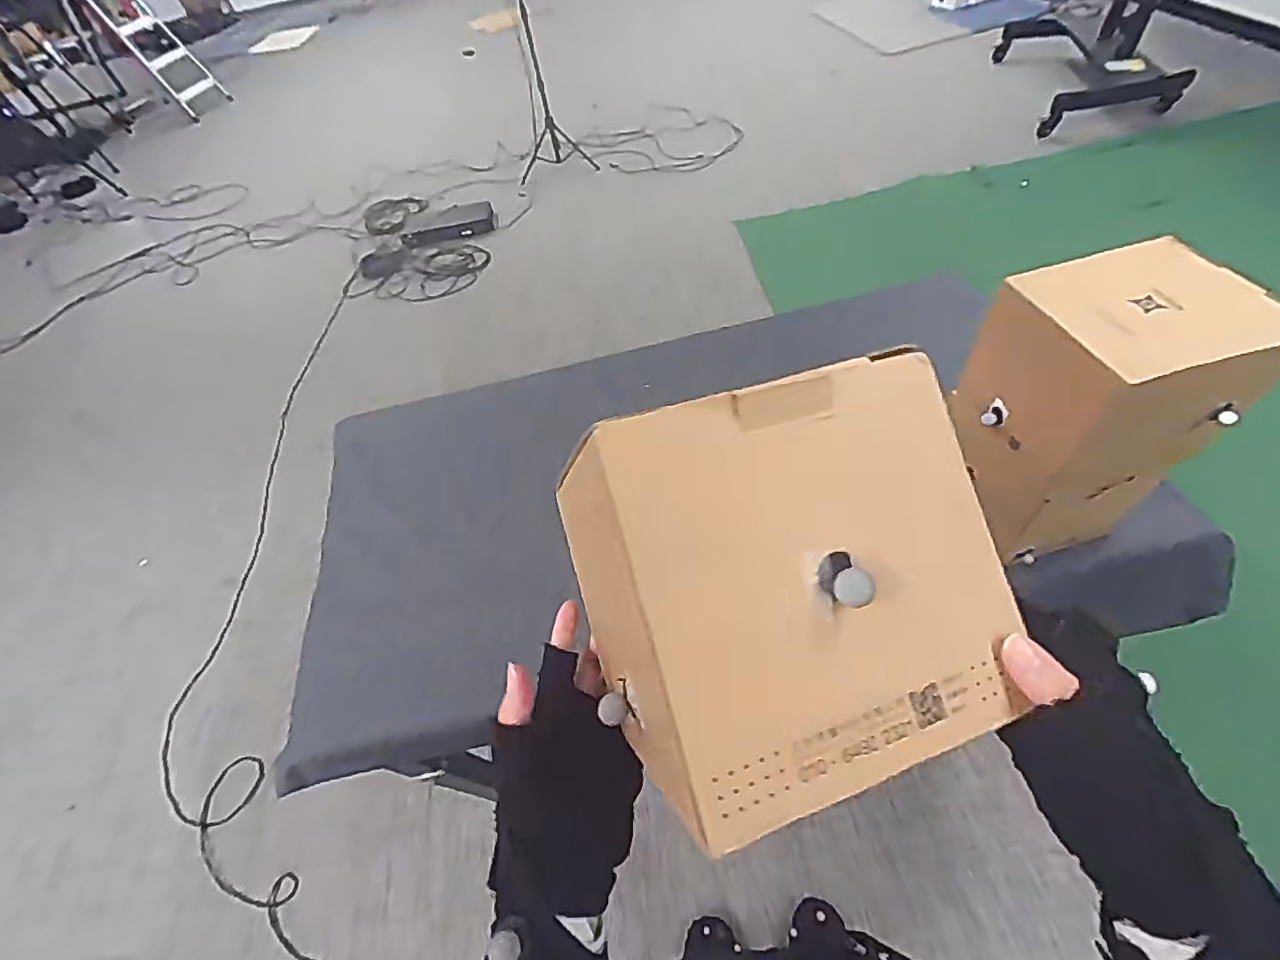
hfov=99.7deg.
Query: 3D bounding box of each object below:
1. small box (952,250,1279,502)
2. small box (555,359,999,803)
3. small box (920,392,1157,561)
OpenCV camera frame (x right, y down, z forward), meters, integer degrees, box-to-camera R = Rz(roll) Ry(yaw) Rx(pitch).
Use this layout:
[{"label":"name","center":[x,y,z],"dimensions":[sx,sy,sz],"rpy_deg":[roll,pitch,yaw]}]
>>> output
[{"label":"small box","center":[0.469,-0.102,0.563],"dimensions":[0.179,0.176,0.168],"rpy_deg":[-15,51,-1]},{"label":"small box","center":[0.058,0.052,0.313],"dimensions":[0.168,0.179,0.176],"rpy_deg":[-13,84,-17]},{"label":"small box","center":[0.489,-0.014,0.697],"dimensions":[0.168,0.176,0.179],"rpy_deg":[-16,52,-3]}]
